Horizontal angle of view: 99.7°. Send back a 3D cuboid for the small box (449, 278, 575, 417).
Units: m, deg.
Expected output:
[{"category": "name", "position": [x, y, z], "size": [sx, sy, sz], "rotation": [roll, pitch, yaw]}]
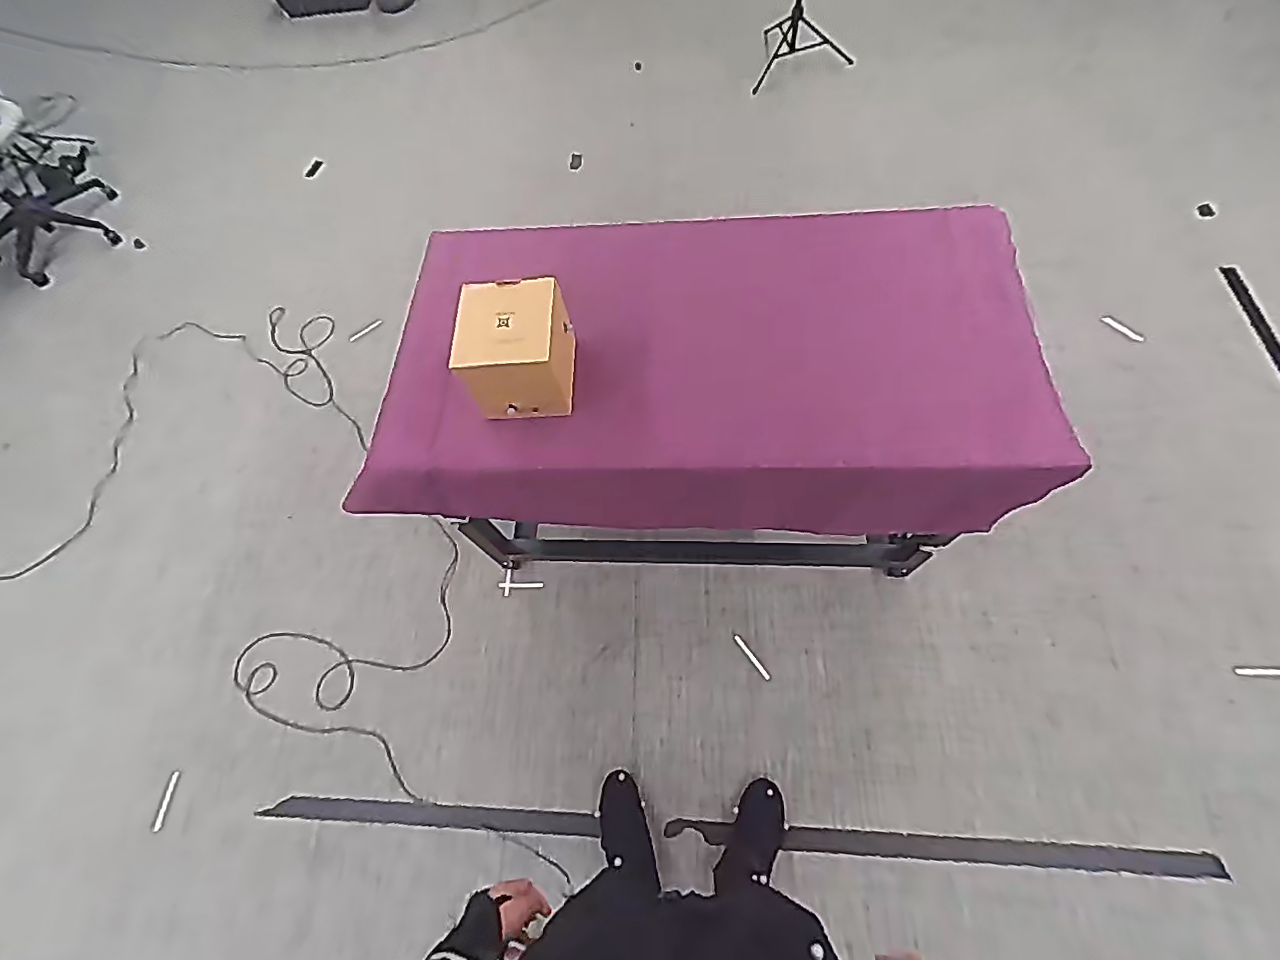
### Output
[{"category": "small box", "position": [-0.214, -0.229, 0.957], "size": [0.168, 0.176, 0.179], "rotation": [-2, 65, 5]}]
